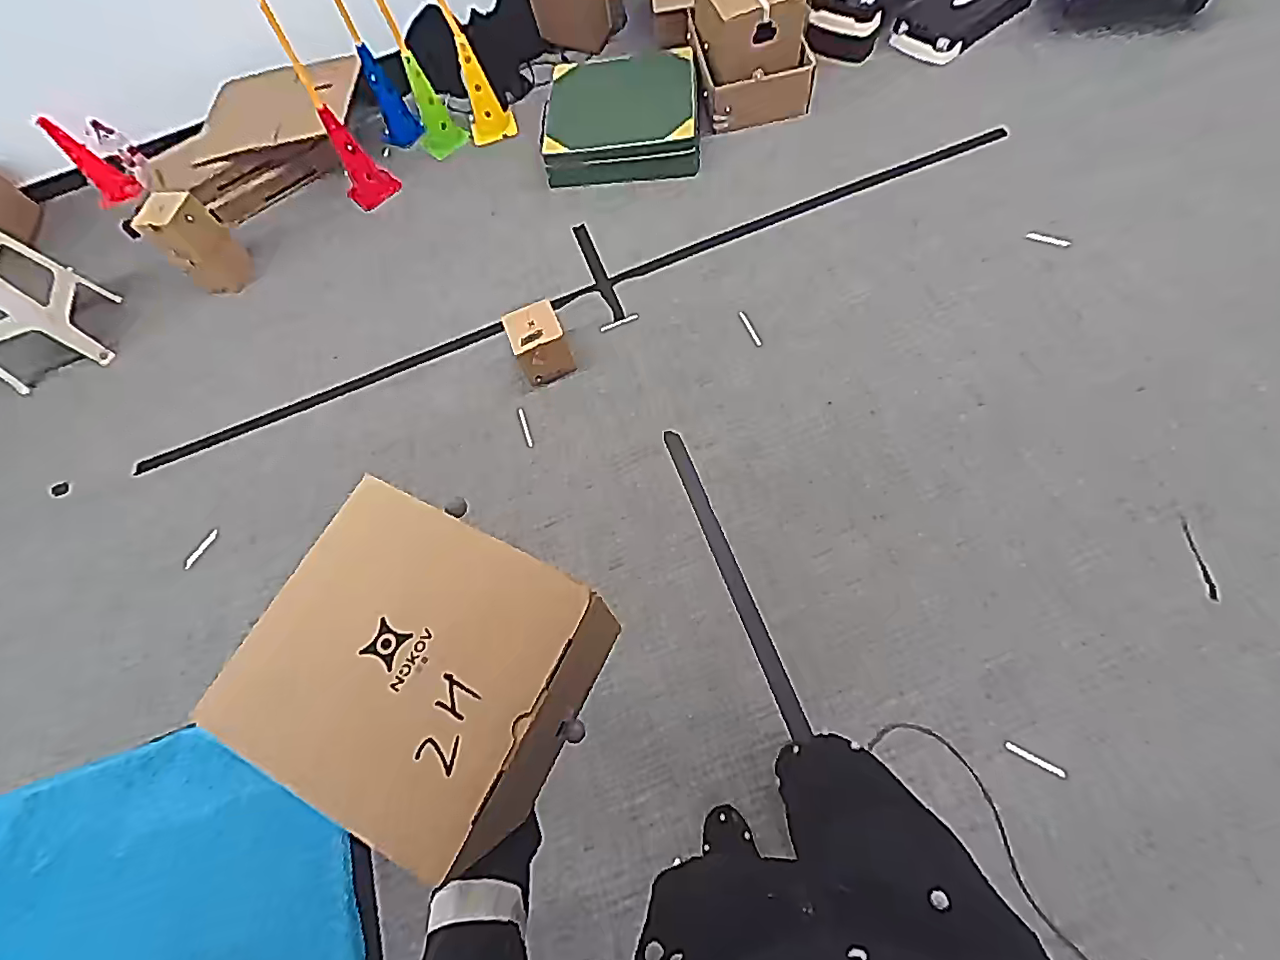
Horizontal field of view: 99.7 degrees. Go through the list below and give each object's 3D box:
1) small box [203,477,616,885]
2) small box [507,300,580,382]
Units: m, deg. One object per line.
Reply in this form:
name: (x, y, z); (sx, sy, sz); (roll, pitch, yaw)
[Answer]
small box: (-0.134, 0.129, 0.387); (0.179, 0.176, 0.168); (29, 74, 12)
small box: (-0.310, -0.446, 1.768); (0.168, 0.176, 0.179); (-23, 62, -2)
